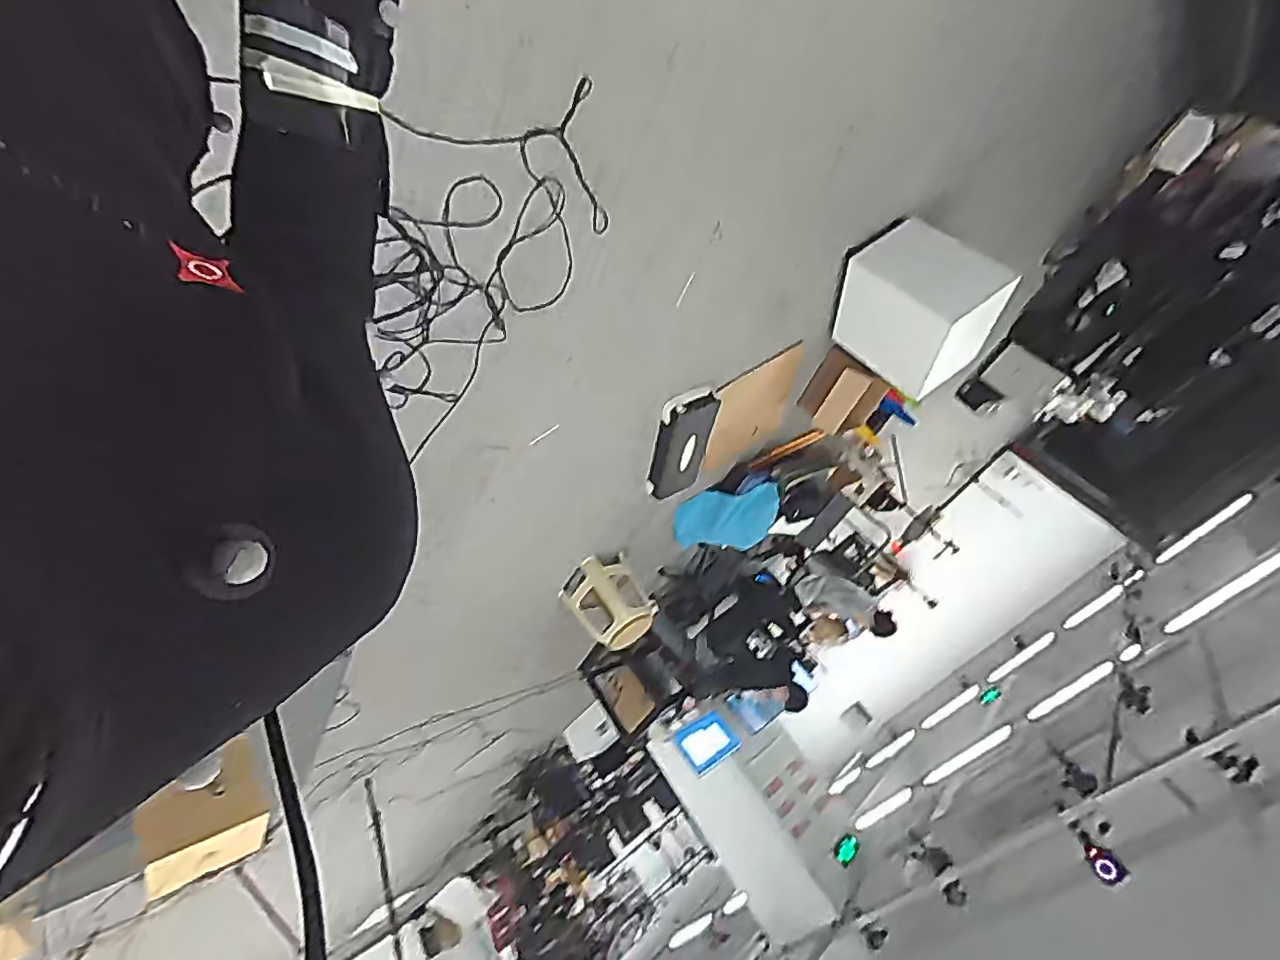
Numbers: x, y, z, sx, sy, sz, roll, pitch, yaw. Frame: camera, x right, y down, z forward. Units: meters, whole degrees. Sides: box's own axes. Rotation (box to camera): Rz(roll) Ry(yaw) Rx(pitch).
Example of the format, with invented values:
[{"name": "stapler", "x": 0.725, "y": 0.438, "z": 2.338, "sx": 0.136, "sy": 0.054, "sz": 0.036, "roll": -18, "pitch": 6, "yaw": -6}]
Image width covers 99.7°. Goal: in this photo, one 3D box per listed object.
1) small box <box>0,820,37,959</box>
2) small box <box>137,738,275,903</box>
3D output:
[{"name": "small box", "x": -0.986, "y": 0.620, "z": 0.755, "sx": 0.168, "sy": 0.176, "sz": 0.179, "roll": -14, "pitch": 142, "yaw": -43}, {"name": "small box", "x": -0.785, "y": 0.599, "z": 0.976, "sx": 0.168, "sy": 0.176, "sz": 0.179, "roll": -7, "pitch": 139, "yaw": -47}]
